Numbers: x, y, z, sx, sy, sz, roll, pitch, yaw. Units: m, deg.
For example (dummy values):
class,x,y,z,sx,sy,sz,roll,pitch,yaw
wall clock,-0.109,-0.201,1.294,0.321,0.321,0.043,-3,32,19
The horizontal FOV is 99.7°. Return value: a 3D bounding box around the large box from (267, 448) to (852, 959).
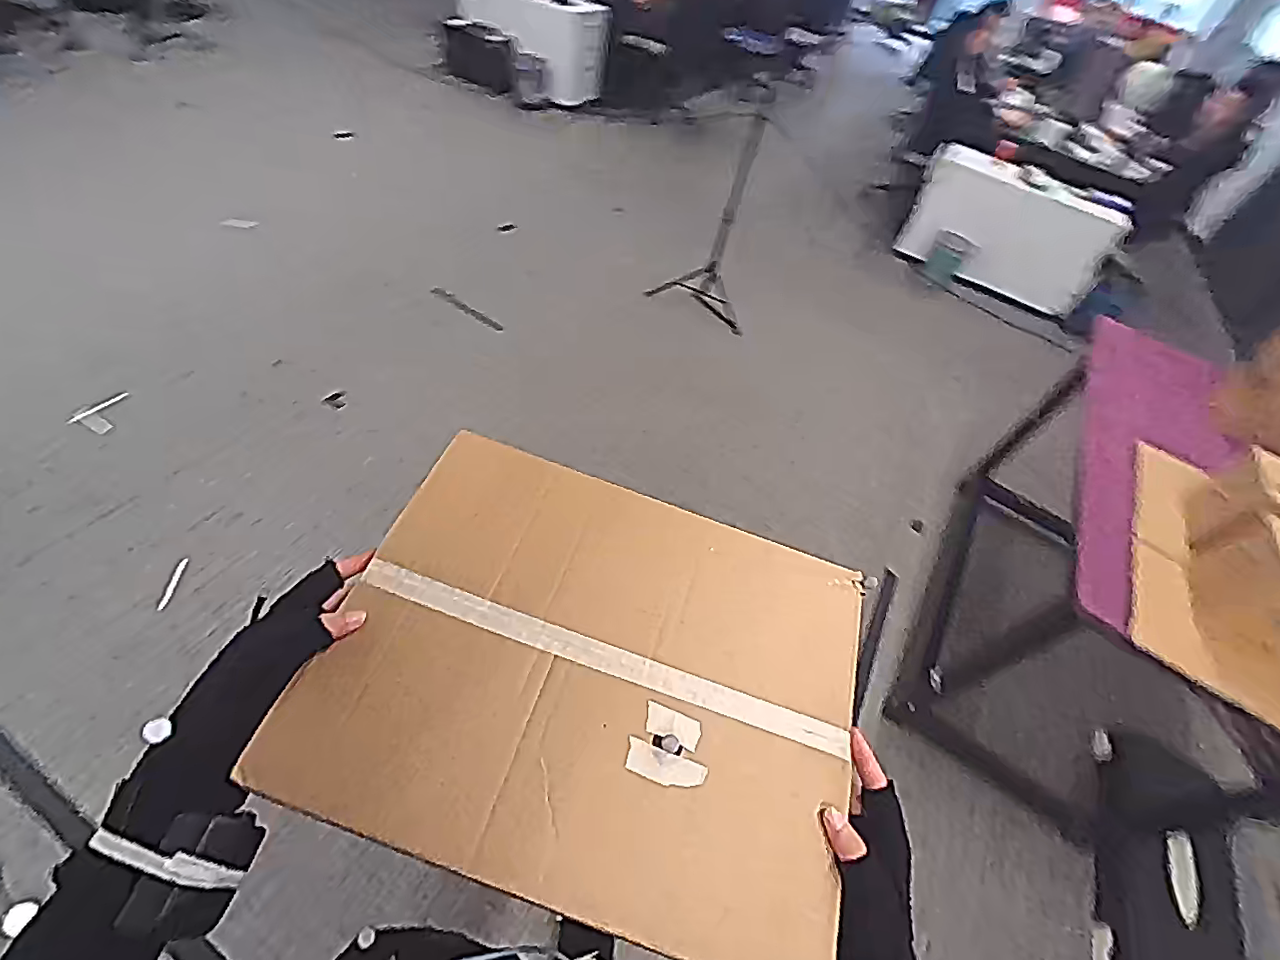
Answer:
class,x,y,z,sx,sy,sz,roll,pitch,yaw
large box,-0.050,0.227,0.564,0.408,0.320,0.320,20,56,2
